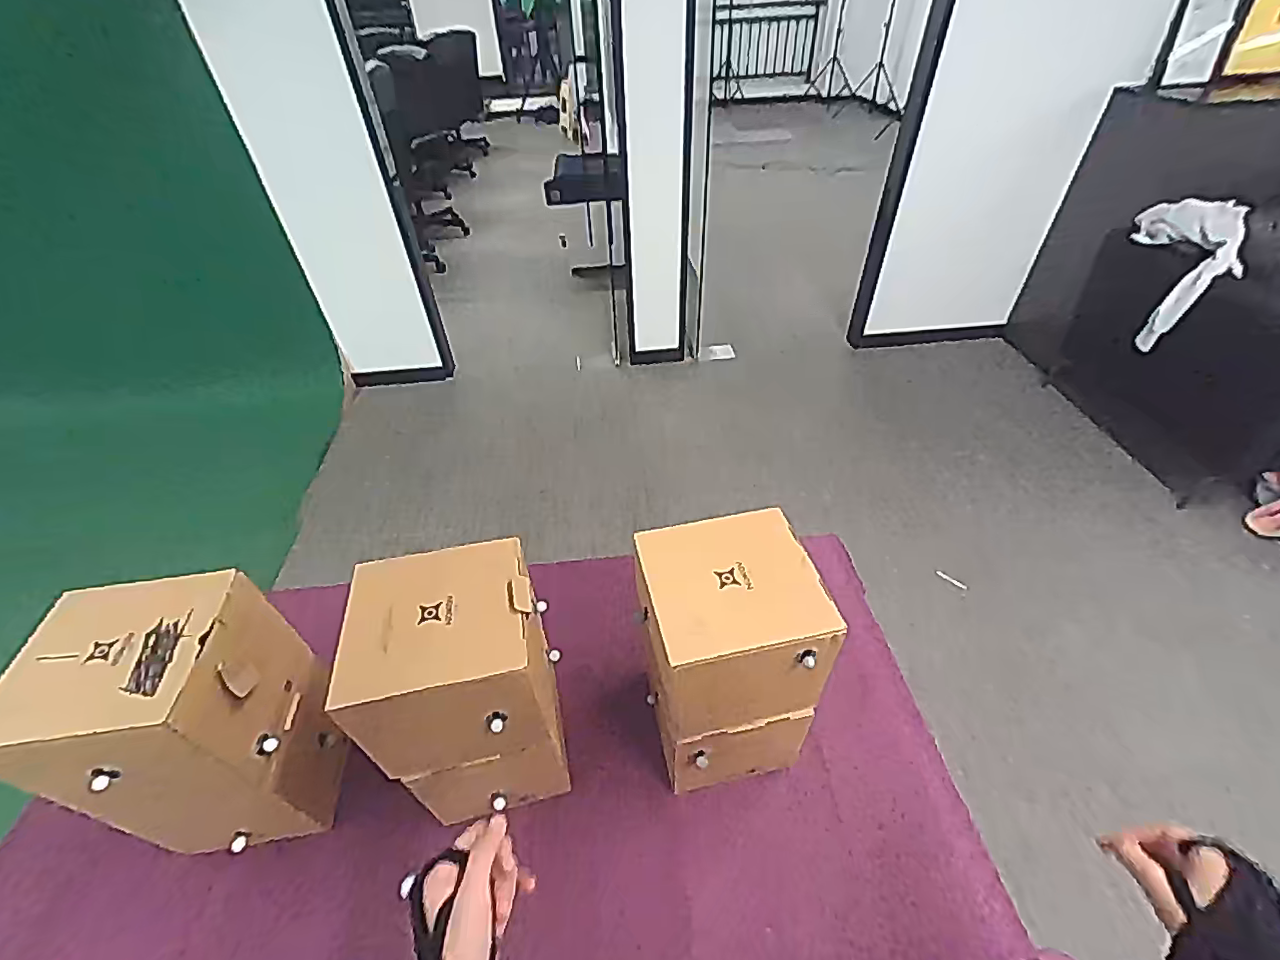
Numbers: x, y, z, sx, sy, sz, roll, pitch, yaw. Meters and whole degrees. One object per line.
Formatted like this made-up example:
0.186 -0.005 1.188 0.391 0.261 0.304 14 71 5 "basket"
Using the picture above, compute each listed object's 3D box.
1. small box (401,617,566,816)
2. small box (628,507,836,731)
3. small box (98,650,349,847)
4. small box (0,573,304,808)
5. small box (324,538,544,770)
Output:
-0.196 0.305 0.708 0.168 0.176 0.179 -11 45 -8 "small box"
0.091 0.158 0.611 0.179 0.176 0.168 -10 44 -8 "small box"
-0.492 0.339 0.684 0.179 0.176 0.168 -7 44 -5 "small box"
-0.496 0.222 0.569 0.179 0.176 0.168 -7 45 -4 "small box"
-0.203 0.190 0.592 0.179 0.176 0.168 -10 44 -7 "small box"
